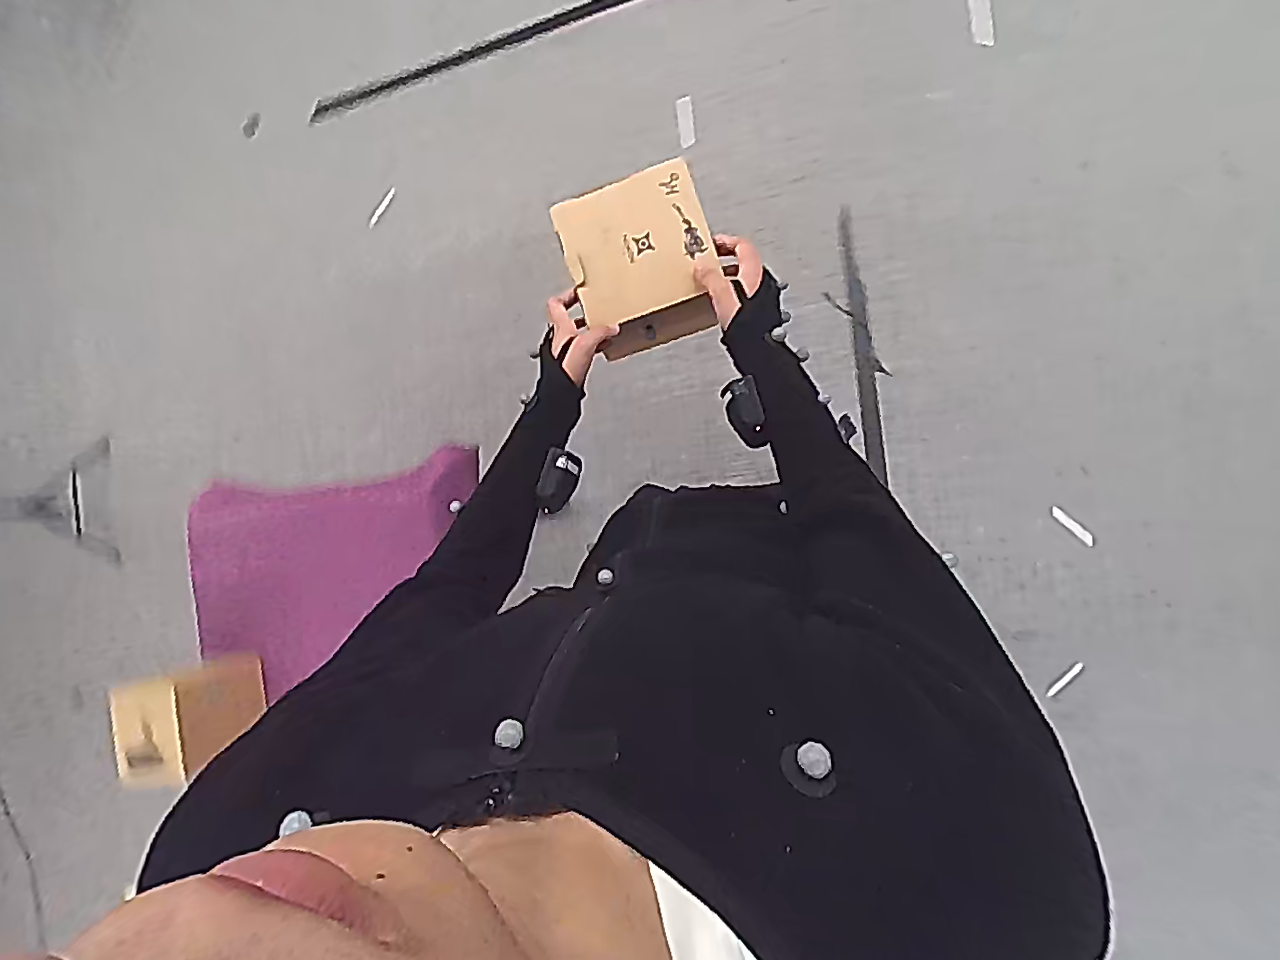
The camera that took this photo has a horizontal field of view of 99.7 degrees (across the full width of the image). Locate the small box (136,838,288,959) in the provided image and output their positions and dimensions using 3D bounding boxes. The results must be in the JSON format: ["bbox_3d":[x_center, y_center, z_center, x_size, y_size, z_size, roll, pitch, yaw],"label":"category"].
[{"bbox_3d":[-0.826,0.835,1.056,0.179,0.176,0.168,-5,89,15],"label":"small box"}]

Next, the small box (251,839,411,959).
[{"bbox_3d":[-0.556,0.790,0.987,0.179,0.176,0.168,-13,88,15],"label":"small box"}]
